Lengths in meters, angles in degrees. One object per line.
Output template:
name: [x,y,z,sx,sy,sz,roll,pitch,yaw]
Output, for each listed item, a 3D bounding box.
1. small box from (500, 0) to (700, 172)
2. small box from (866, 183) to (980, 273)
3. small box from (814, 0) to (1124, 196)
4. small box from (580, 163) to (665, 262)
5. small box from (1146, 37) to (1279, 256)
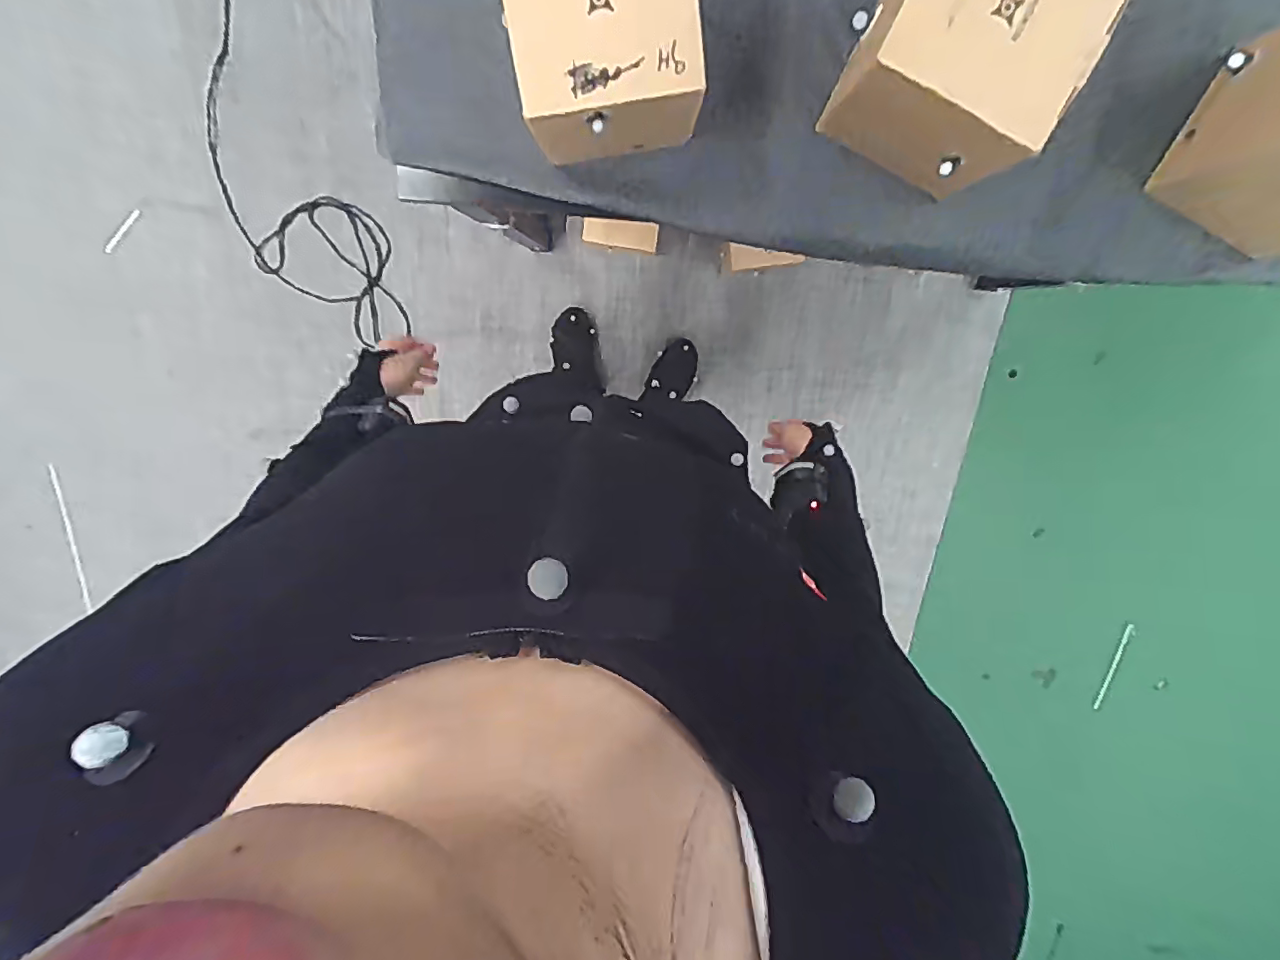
small box: [-0.039,-0.431,0.533,0.168,0.176,0.179,-8,107,2]
small box: [0.642,-0.576,1.251,0.168,0.176,0.179,-1,107,-1]
small box: [0.308,-0.412,0.541,0.179,0.176,0.168,24,102,-6]
small box: [-0.037,-0.609,1.244,0.168,0.176,0.179,8,106,-2]
small box: [0.700,-0.351,0.555,0.179,0.176,0.168,25,103,-6]
